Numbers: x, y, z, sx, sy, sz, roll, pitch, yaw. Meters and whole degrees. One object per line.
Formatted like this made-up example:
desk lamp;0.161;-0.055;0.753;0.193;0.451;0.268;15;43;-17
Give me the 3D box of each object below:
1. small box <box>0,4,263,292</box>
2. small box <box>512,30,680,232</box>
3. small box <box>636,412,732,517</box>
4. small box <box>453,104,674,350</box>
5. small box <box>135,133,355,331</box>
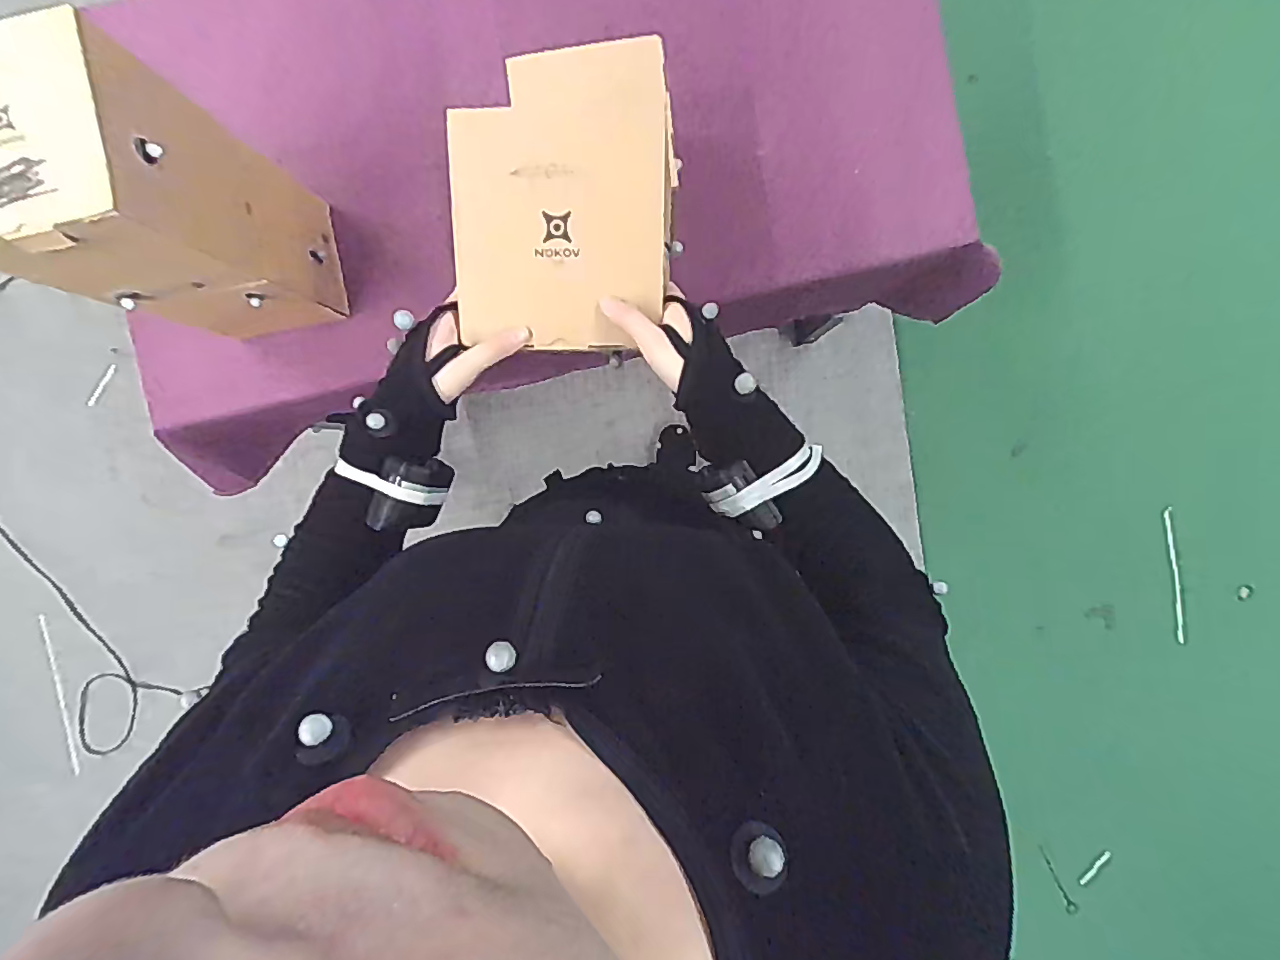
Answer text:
small box;-0.520;-0.302;0.539;0.168;0.176;0.179;-11;91;2
small box;-0.044;-0.403;0.675;0.179;0.176;0.168;-6;93;3
small box;0.106;-0.039;1.403;0.179;0.176;0.168;-32;61;-29
small box;-0.055;-0.211;0.499;0.168;0.176;0.179;2;102;5
small box;-0.511;-0.305;0.703;0.179;0.176;0.168;-10;92;2
